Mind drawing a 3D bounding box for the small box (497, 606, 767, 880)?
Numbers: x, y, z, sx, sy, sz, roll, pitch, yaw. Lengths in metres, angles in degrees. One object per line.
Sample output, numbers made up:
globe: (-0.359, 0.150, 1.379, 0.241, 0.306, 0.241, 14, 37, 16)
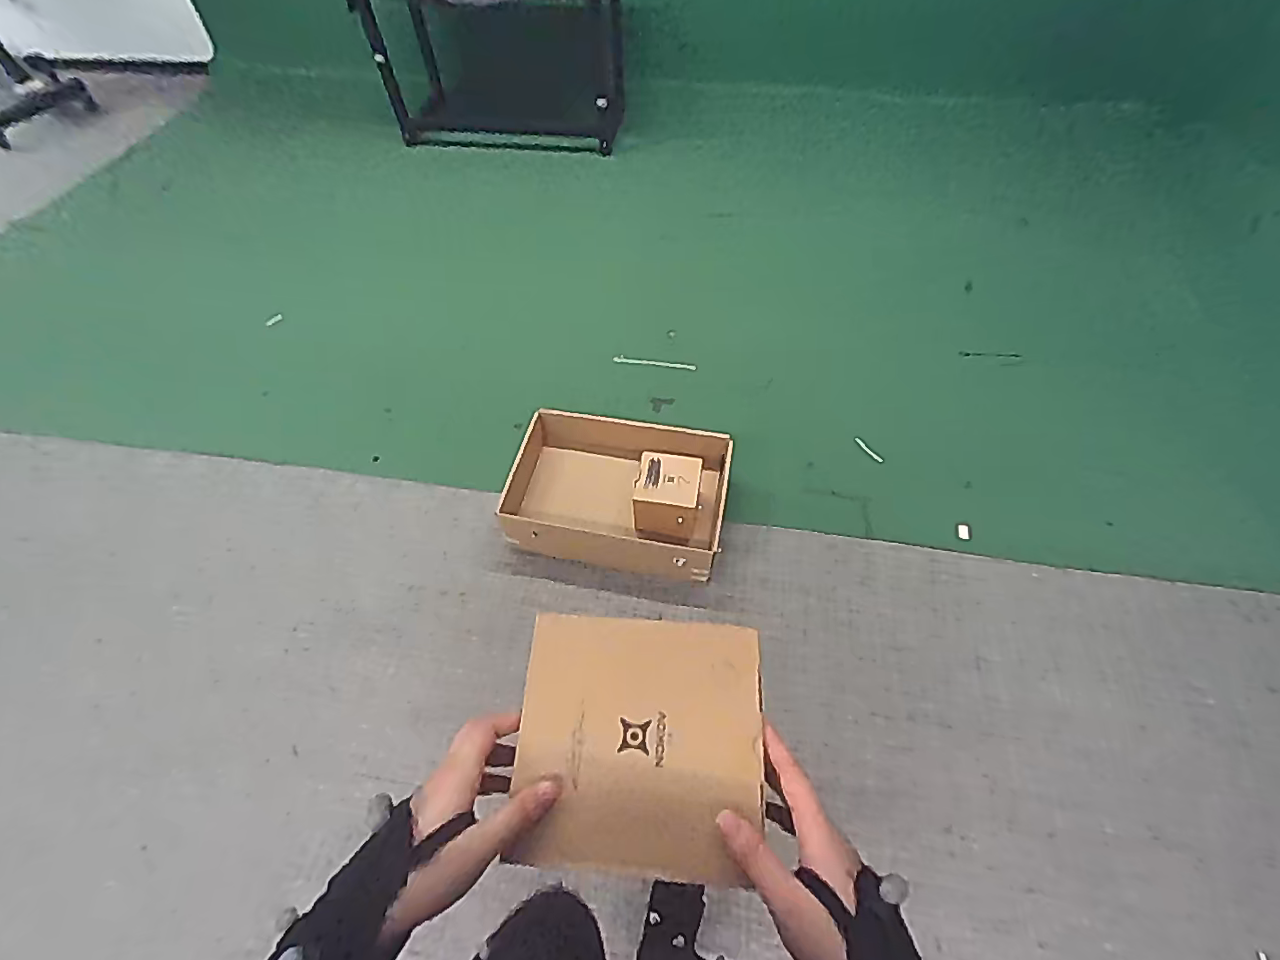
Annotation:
small box: (0.002, 0.211, 0.451, 0.179, 0.176, 0.168, 2, 63, 4)
